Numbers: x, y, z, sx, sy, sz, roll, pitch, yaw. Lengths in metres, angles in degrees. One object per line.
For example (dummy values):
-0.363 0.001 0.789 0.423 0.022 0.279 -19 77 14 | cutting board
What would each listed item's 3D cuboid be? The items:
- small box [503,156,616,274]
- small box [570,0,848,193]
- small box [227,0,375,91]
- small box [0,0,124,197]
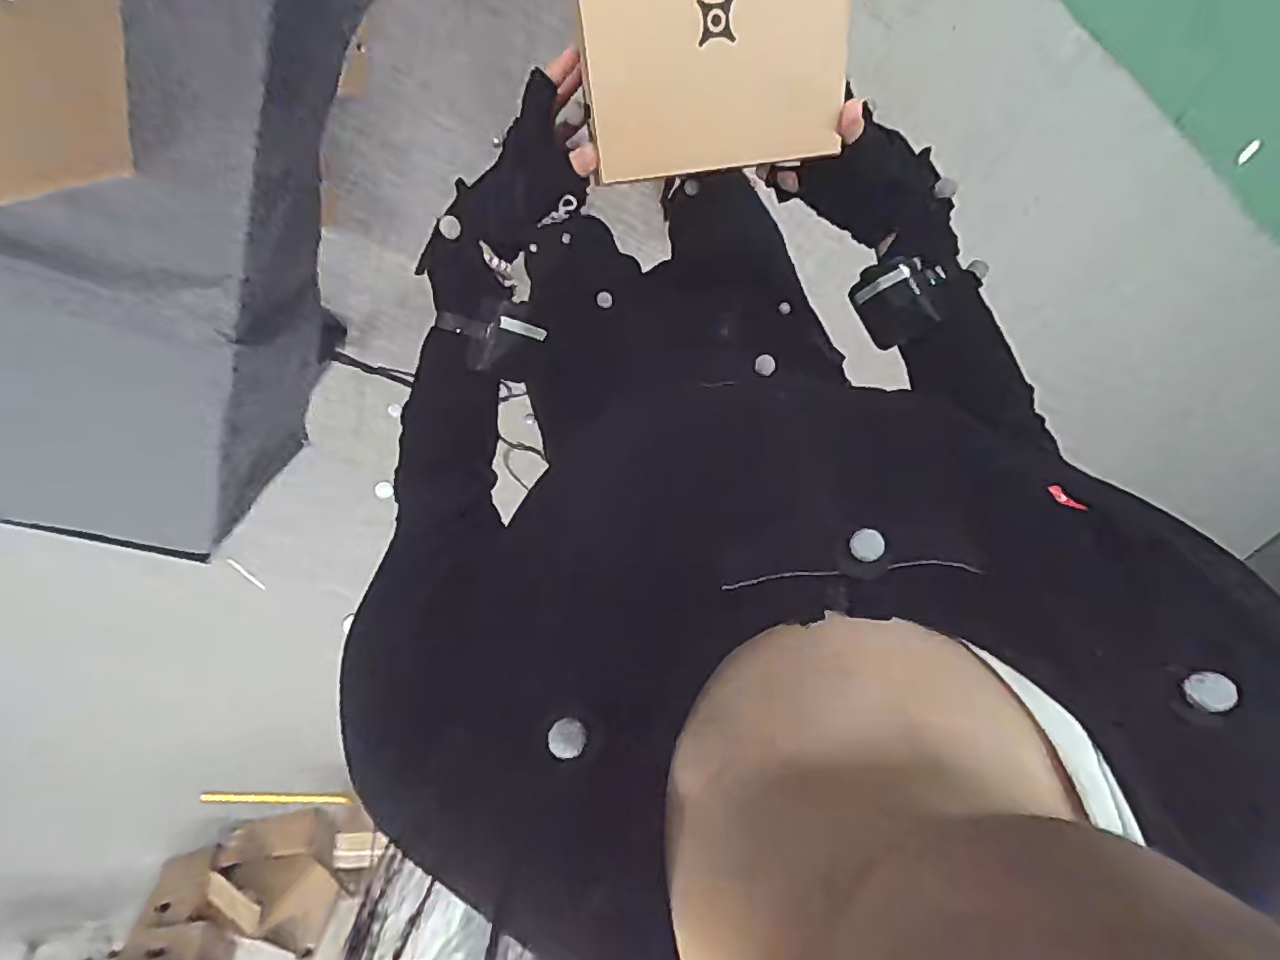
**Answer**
-0.176 -0.575 1.180 0.168 0.176 0.179 -27 109 20 | small box
0.037 -0.318 0.392 0.168 0.176 0.179 -9 119 -2 | small box
-0.563 -0.799 0.914 0.168 0.176 0.179 16 123 -22 | small box
-0.504 -0.318 0.370 0.168 0.176 0.179 14 122 -20 | small box
